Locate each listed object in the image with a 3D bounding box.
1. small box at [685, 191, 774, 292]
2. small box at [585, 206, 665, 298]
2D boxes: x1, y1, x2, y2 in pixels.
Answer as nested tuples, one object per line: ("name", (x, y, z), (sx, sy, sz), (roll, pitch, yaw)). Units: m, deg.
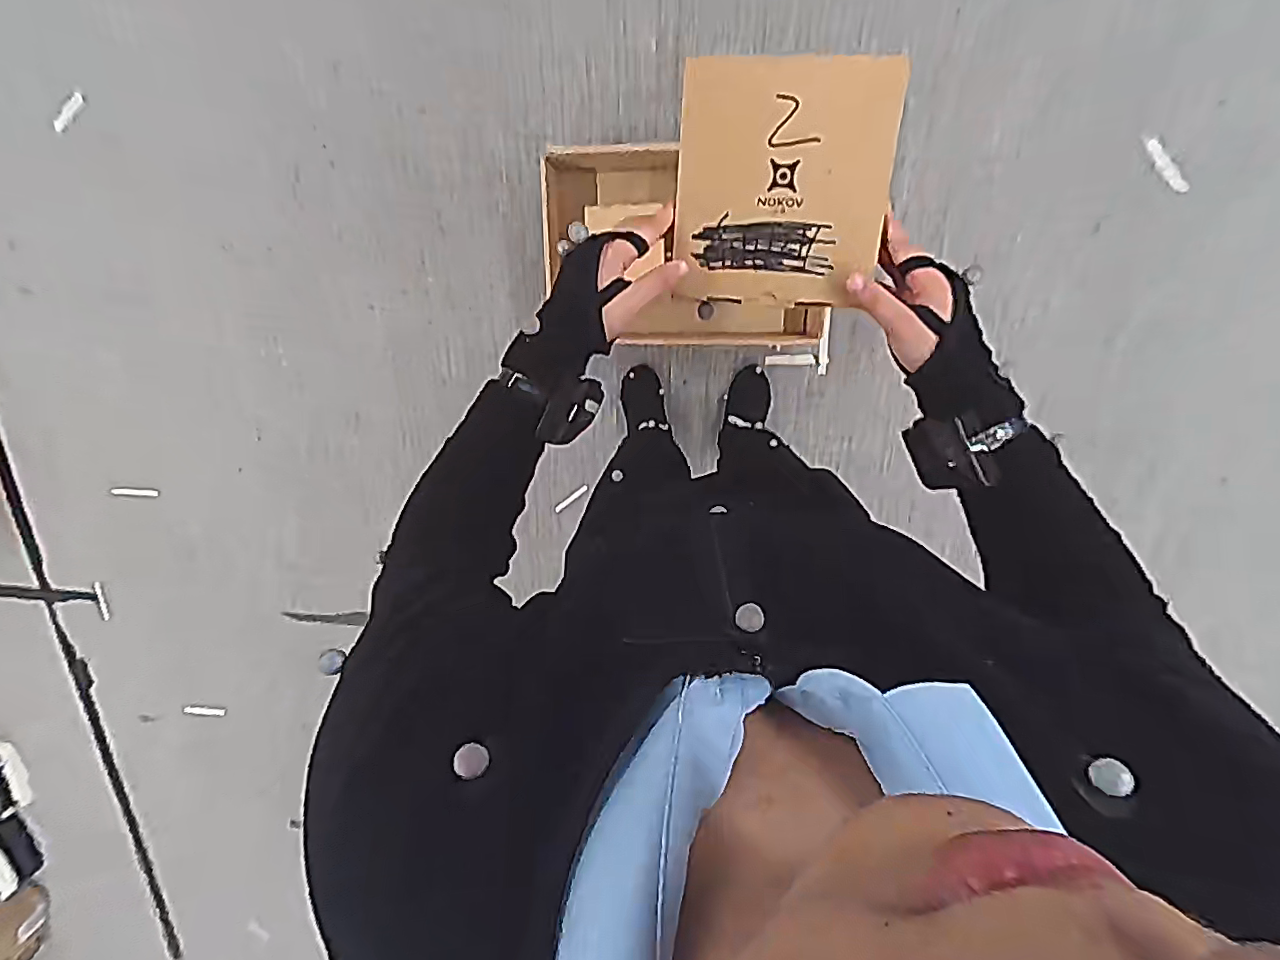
("small box", (0.189, -0.520, 1.200), (0.168, 0.176, 0.179), (7, 108, 4))
("small box", (-0.027, -0.506, 1.220), (0.168, 0.176, 0.179), (-1, 107, 3))
